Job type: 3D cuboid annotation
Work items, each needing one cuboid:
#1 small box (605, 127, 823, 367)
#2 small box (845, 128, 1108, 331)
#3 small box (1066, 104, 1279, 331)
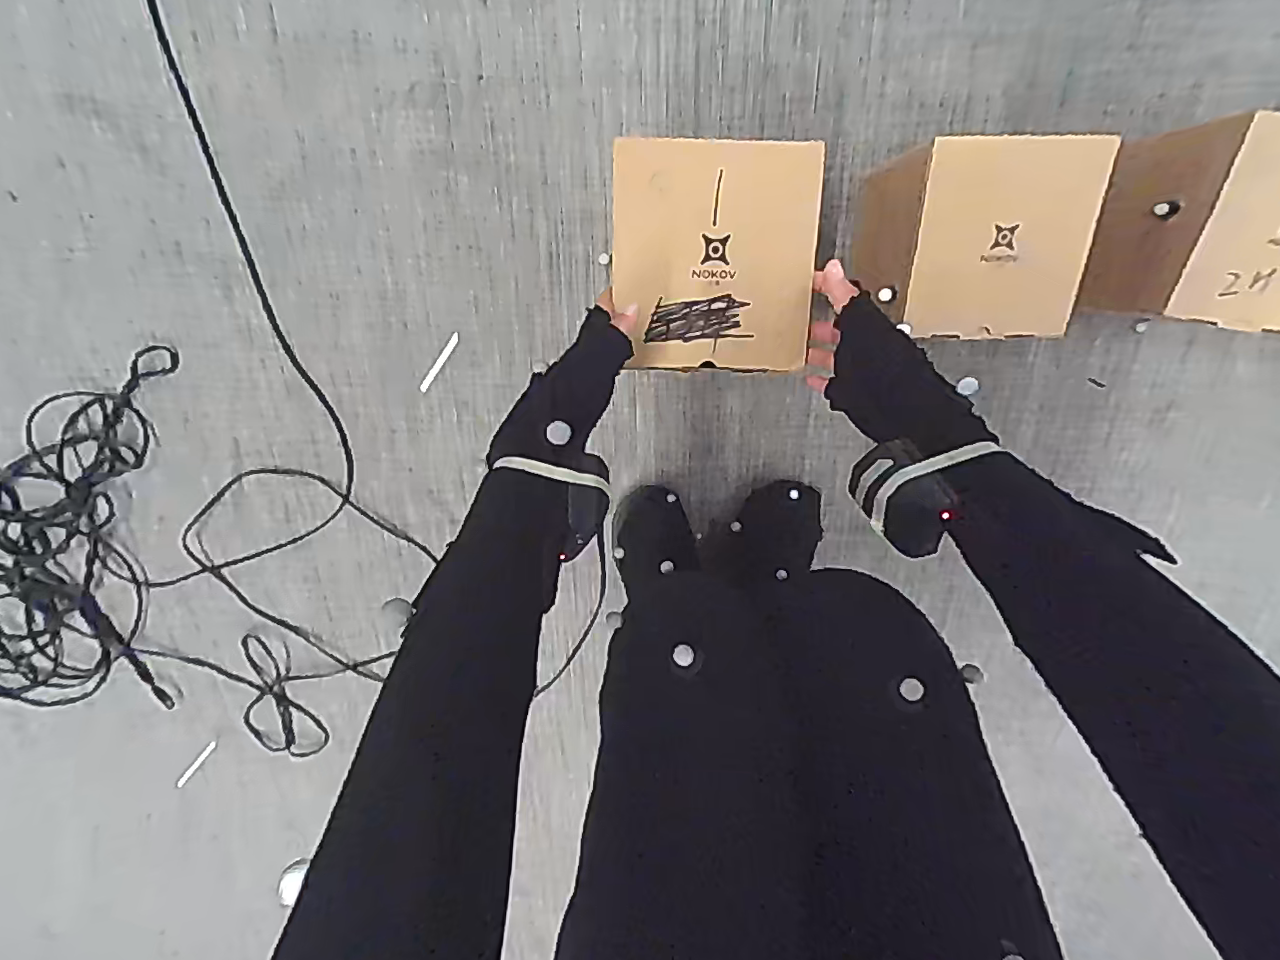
[{"bbox_3d":[0.055,-0.204,0.511,0.168,0.176,0.179,1,105,-1],"label":"small box"},{"bbox_3d":[0.338,-0.259,0.586,0.168,0.176,0.179,0,111,1],"label":"small box"},{"bbox_3d":[0.594,-0.267,0.578,0.168,0.176,0.179,8,112,-1],"label":"small box"}]
